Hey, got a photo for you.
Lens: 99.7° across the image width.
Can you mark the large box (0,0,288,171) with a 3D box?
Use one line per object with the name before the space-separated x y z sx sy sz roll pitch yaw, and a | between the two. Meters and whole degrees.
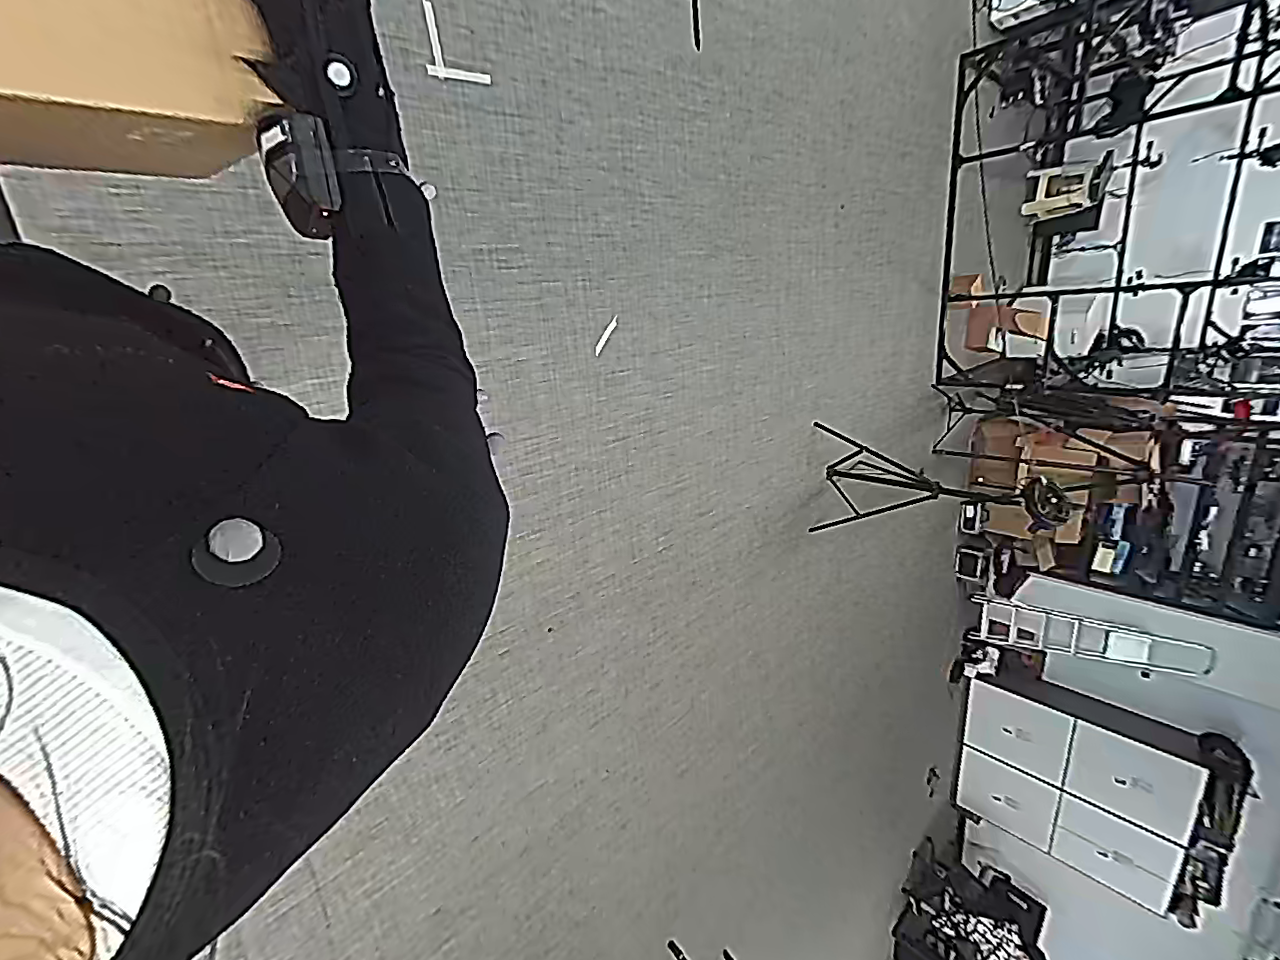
large box | -0.494 -0.368 0.286 0.408 0.320 0.320 -23 122 -42
